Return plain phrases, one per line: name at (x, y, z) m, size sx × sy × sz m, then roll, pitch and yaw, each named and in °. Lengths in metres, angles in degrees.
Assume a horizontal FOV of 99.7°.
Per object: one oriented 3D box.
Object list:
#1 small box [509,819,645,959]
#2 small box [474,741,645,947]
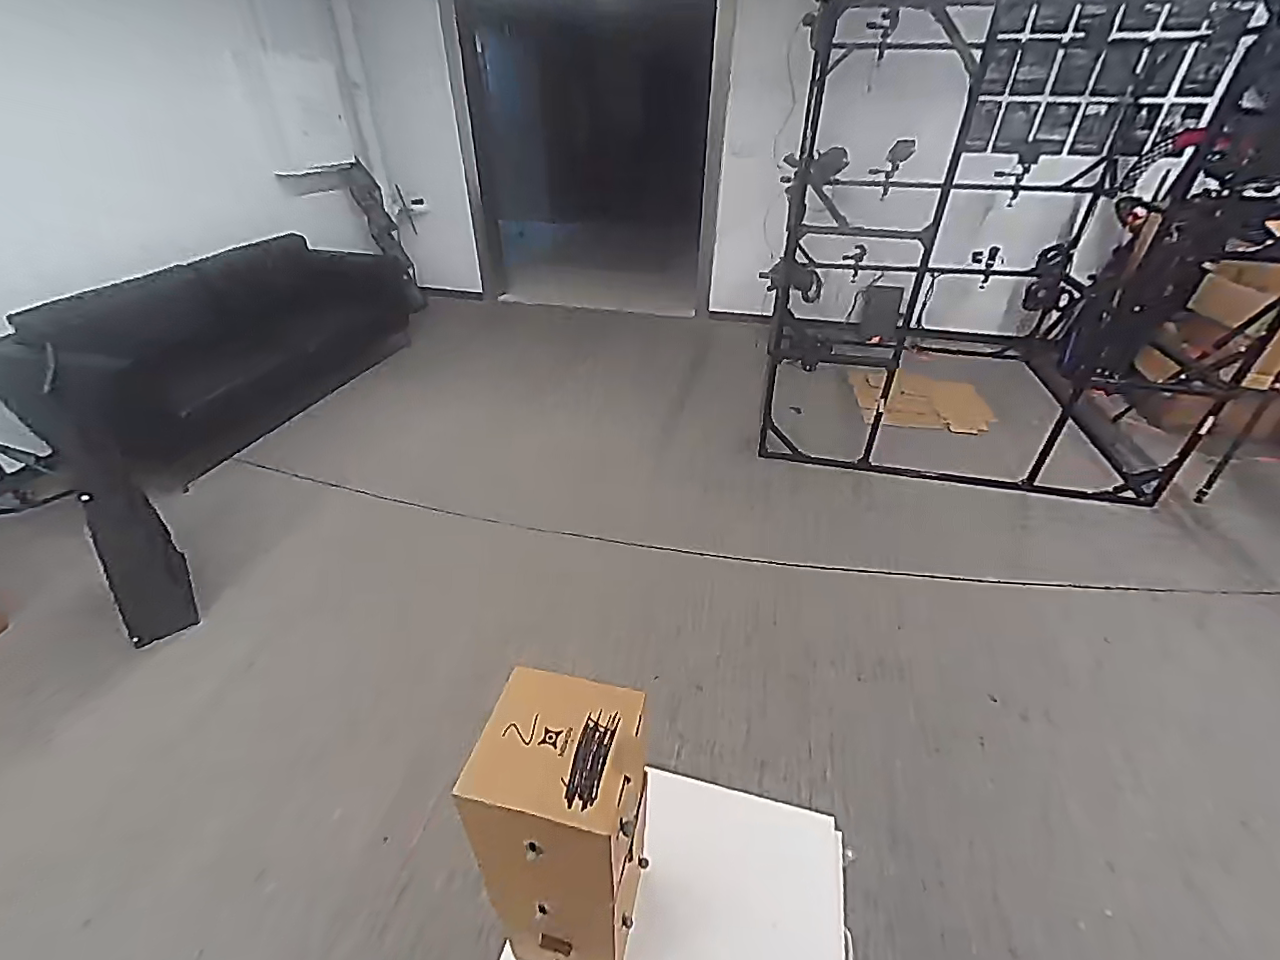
small box at (-0.094, 0.628, 0.838) m, size 0.168 × 0.176 × 0.179 m, roll 9°, pitch 36°, yaw 12°
small box at (-0.096, 0.497, 0.739) m, size 0.179 × 0.176 × 0.168 m, roll 8°, pitch 35°, yaw 12°
